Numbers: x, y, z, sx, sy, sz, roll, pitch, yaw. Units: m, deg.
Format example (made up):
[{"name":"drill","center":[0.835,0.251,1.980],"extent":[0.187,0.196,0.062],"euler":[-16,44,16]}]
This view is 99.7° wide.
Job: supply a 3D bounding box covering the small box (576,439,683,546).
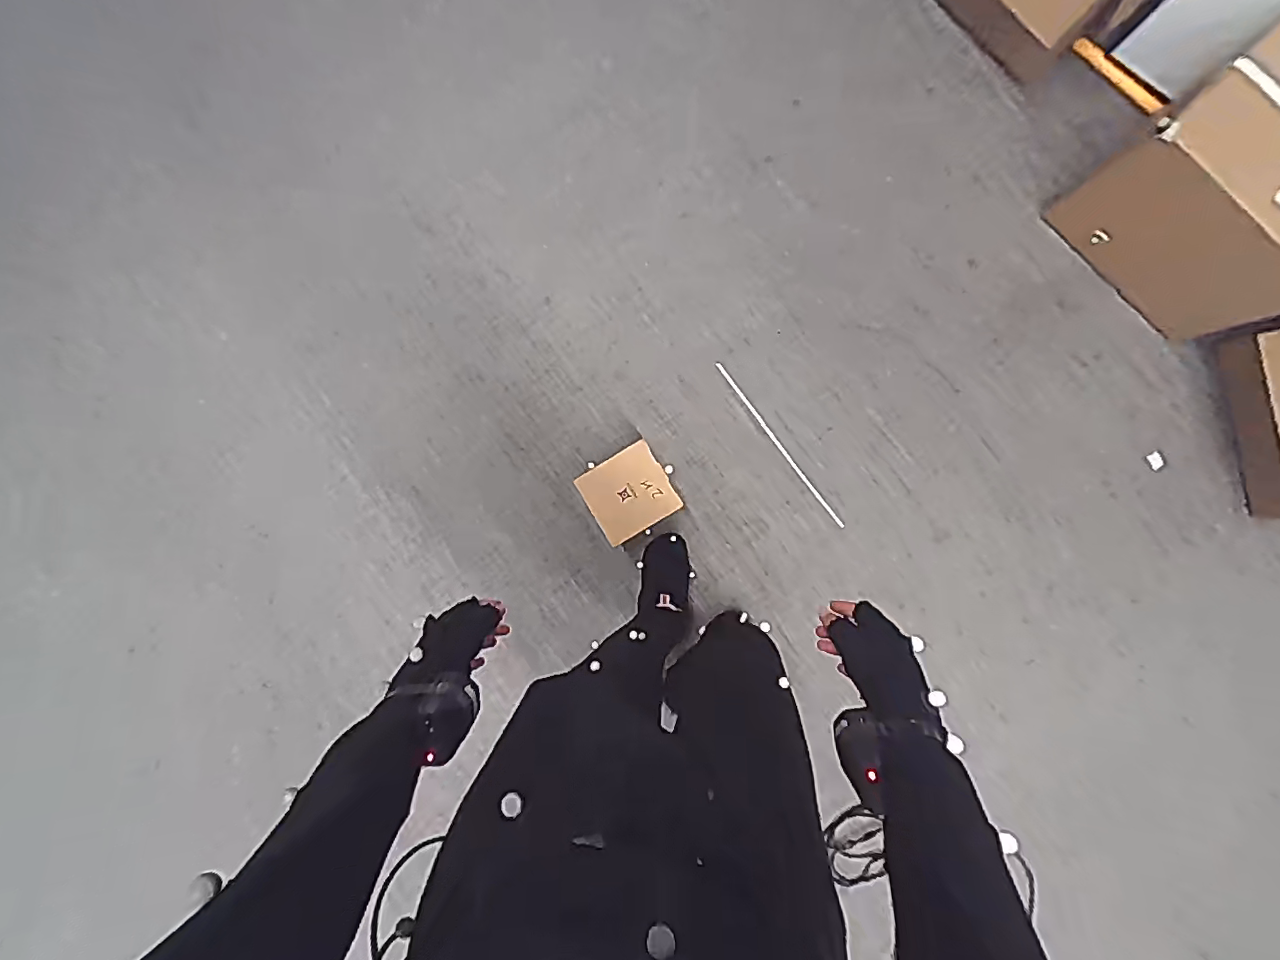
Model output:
[{"name":"small box","center":[-0.015,0.026,1.193],"extent":[0.179,0.176,0.168],"euler":[-31,89,4]}]
